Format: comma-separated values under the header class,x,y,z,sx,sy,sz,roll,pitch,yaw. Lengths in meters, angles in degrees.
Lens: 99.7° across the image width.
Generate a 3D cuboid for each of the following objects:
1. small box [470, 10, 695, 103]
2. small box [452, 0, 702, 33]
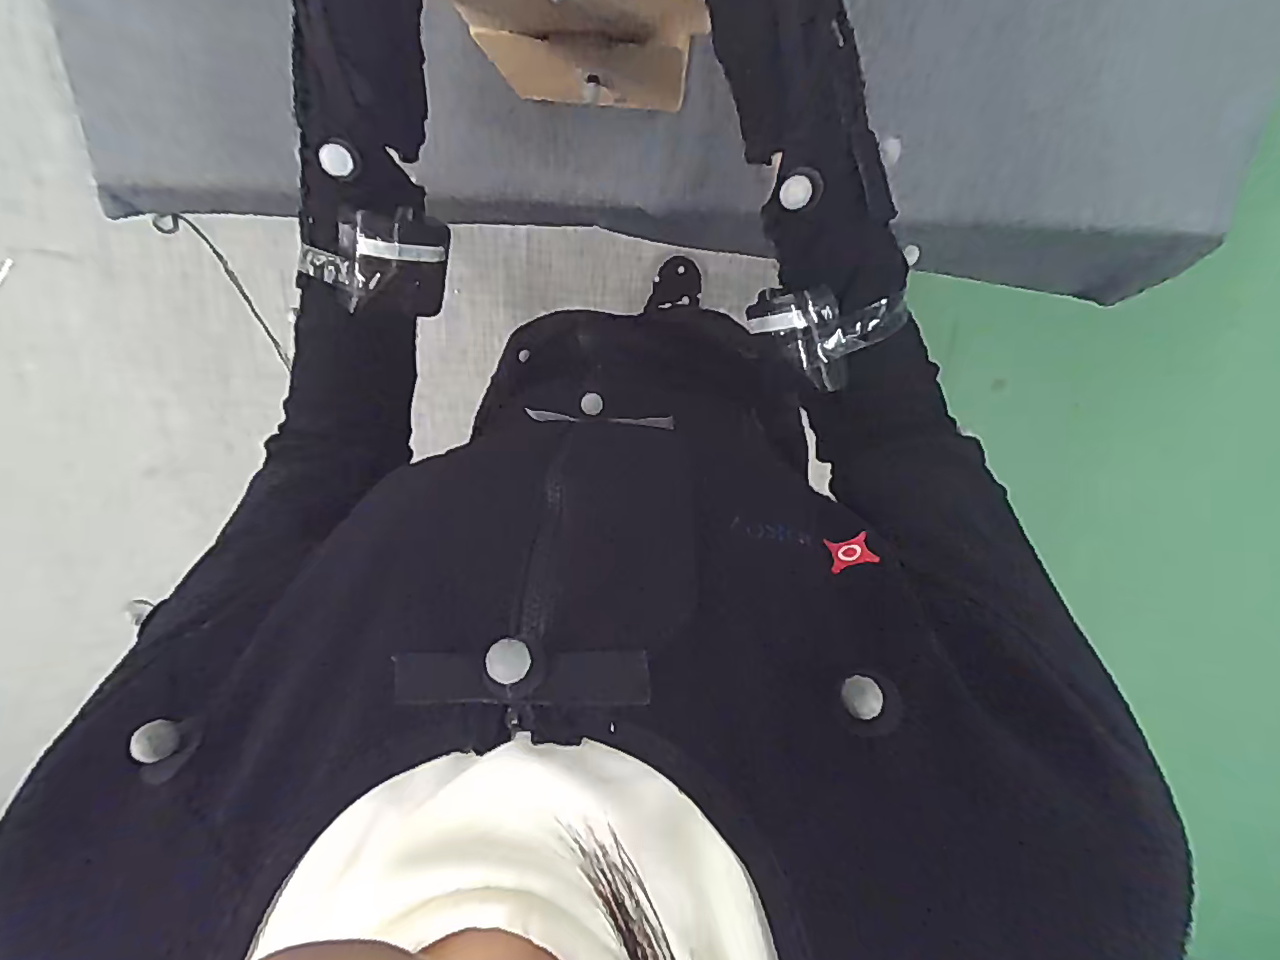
class,x,y,z,sx,sy,sz,roll,pitch,yaw
small box,-0.035,-0.434,0.444,0.168,0.176,0.179,4,111,2
small box,-0.040,-0.369,0.285,0.179,0.176,0.168,3,112,4
